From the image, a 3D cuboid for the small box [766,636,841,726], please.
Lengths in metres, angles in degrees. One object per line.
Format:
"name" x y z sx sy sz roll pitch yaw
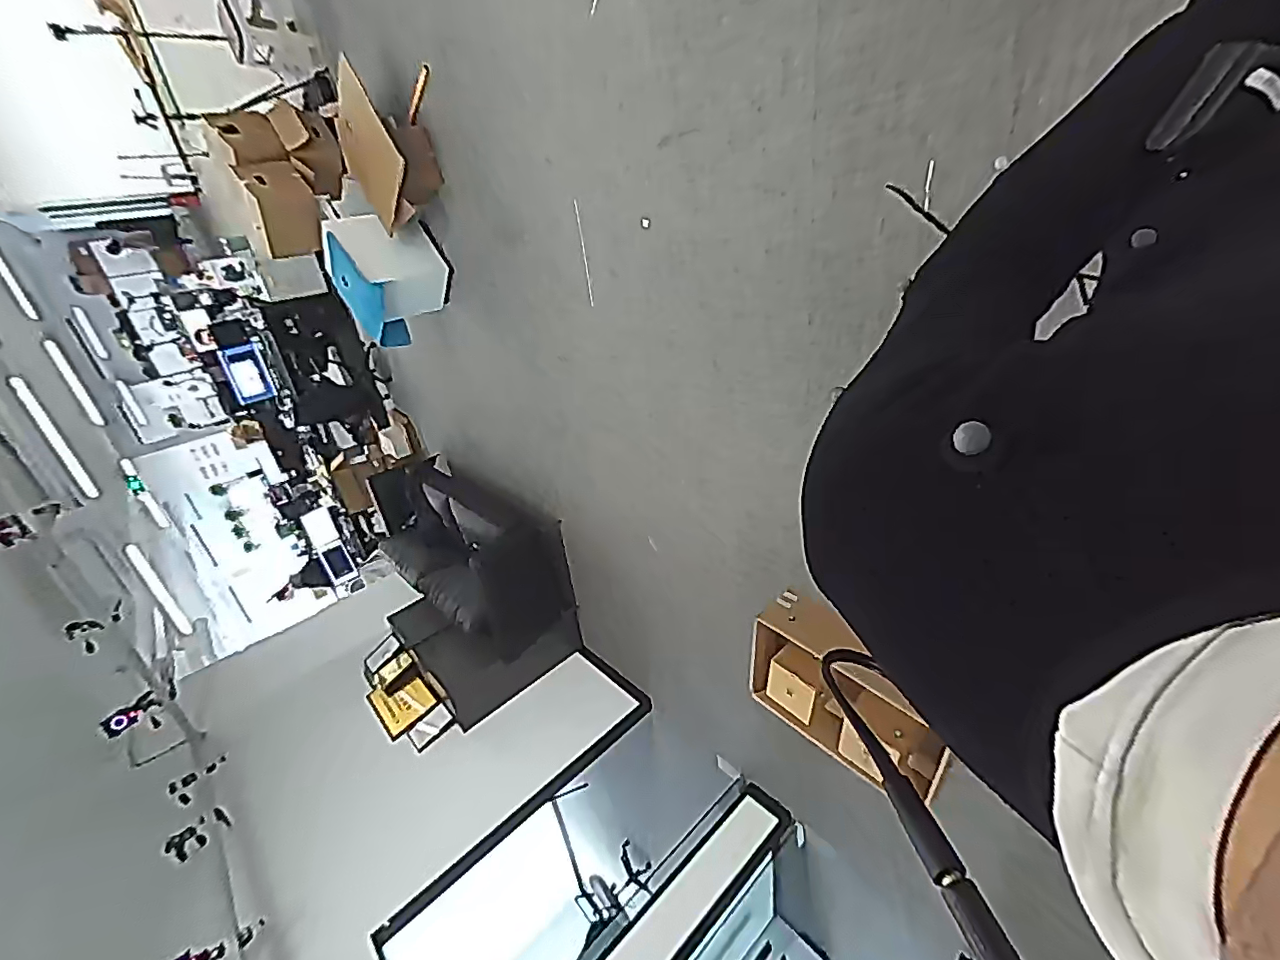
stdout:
"small box" 0.534 0.649 1.762 0.168 0.176 0.179 29 133 40
